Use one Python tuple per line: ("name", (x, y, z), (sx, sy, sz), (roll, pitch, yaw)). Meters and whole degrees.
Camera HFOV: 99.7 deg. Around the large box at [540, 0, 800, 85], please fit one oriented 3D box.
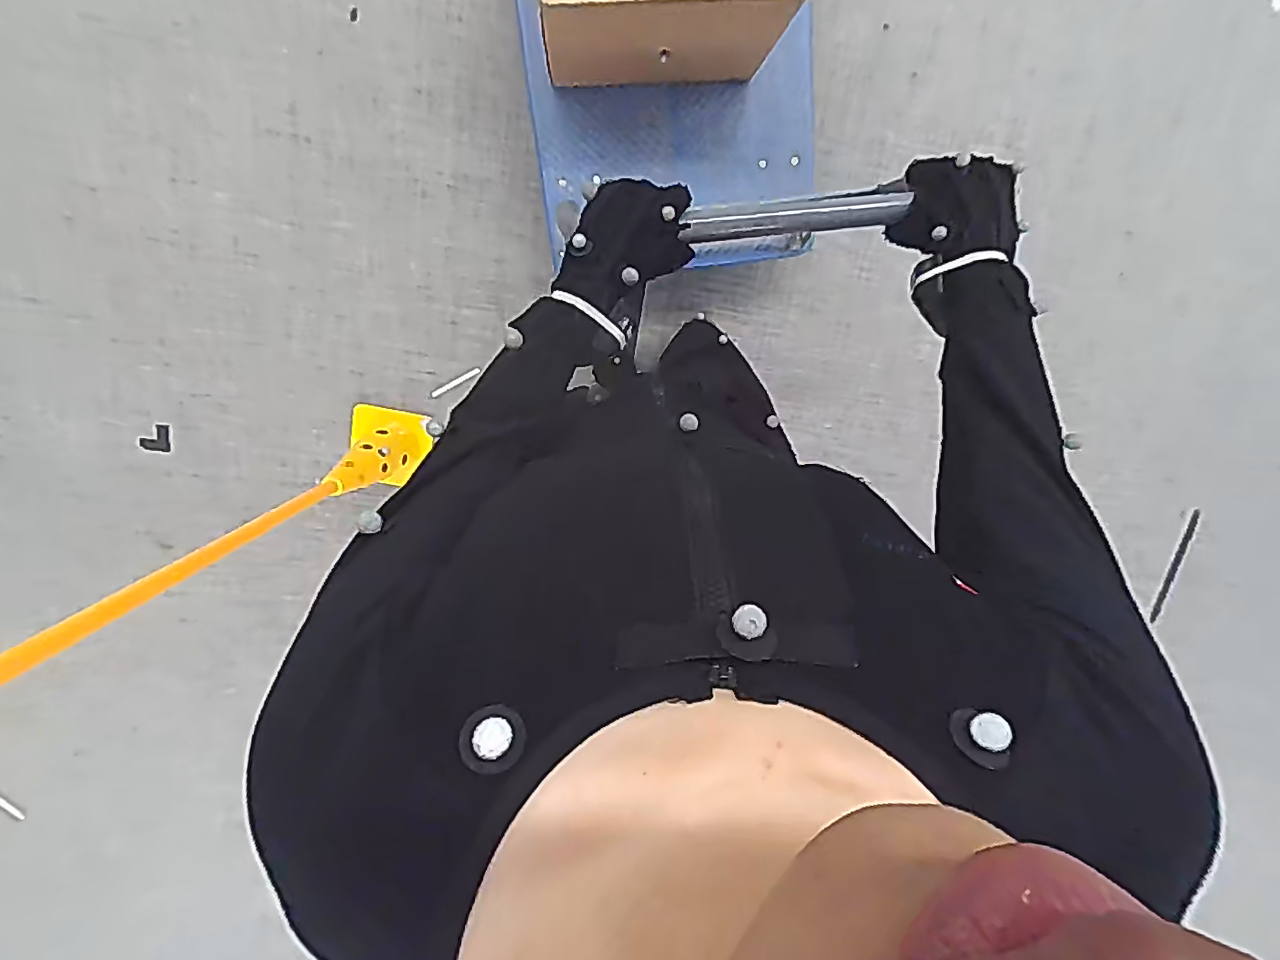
("large box", (0.030, -0.897, 0.895), (0.408, 0.320, 0.320), (-5, 107, -3))
